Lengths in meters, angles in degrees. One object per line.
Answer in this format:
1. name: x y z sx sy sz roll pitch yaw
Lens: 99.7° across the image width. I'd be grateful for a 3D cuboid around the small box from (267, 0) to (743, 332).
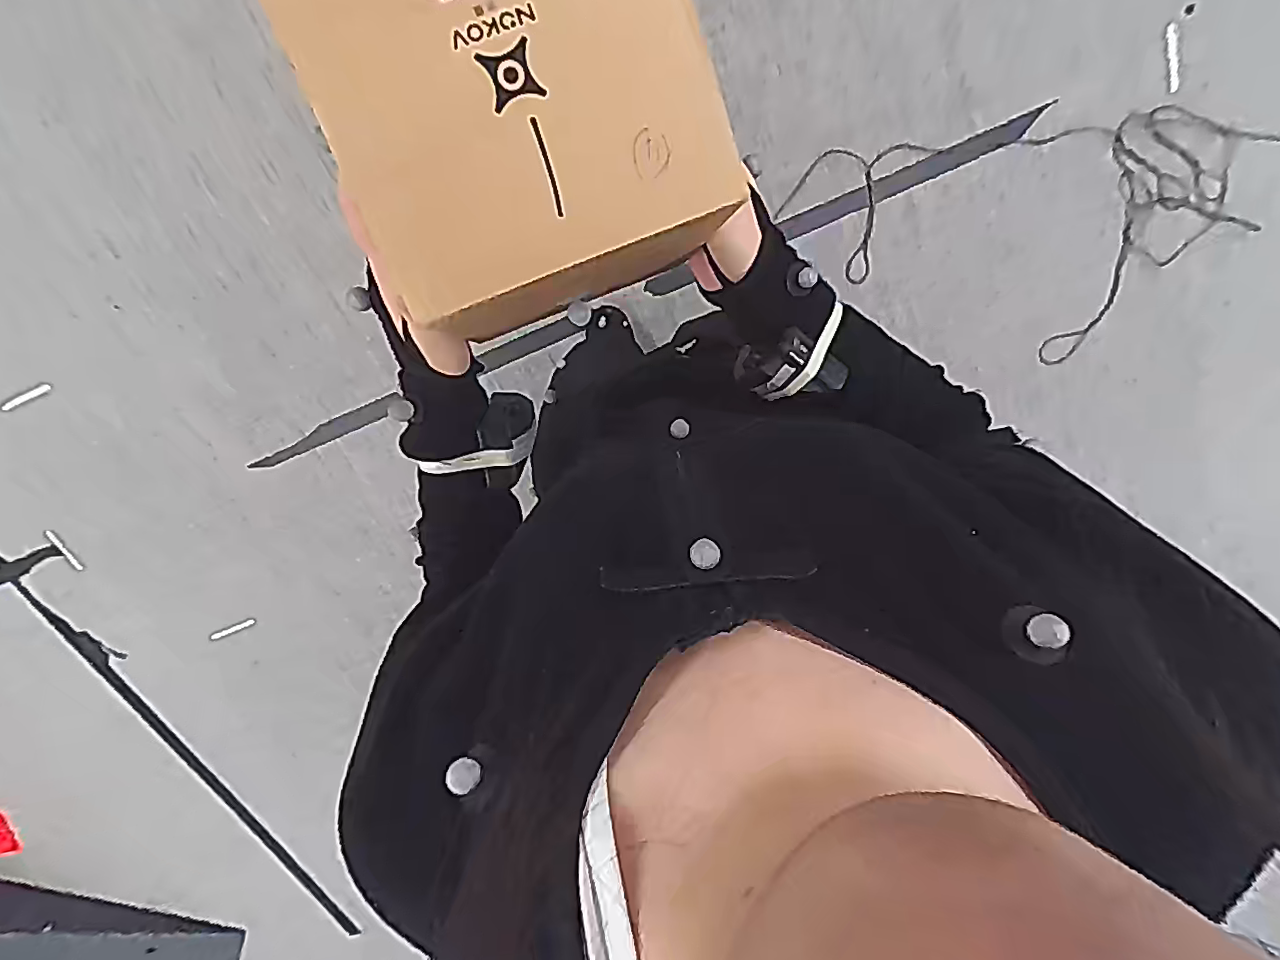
1. small box: -0.067 -0.196 0.300 0.168 0.176 0.179 -22 103 -2
